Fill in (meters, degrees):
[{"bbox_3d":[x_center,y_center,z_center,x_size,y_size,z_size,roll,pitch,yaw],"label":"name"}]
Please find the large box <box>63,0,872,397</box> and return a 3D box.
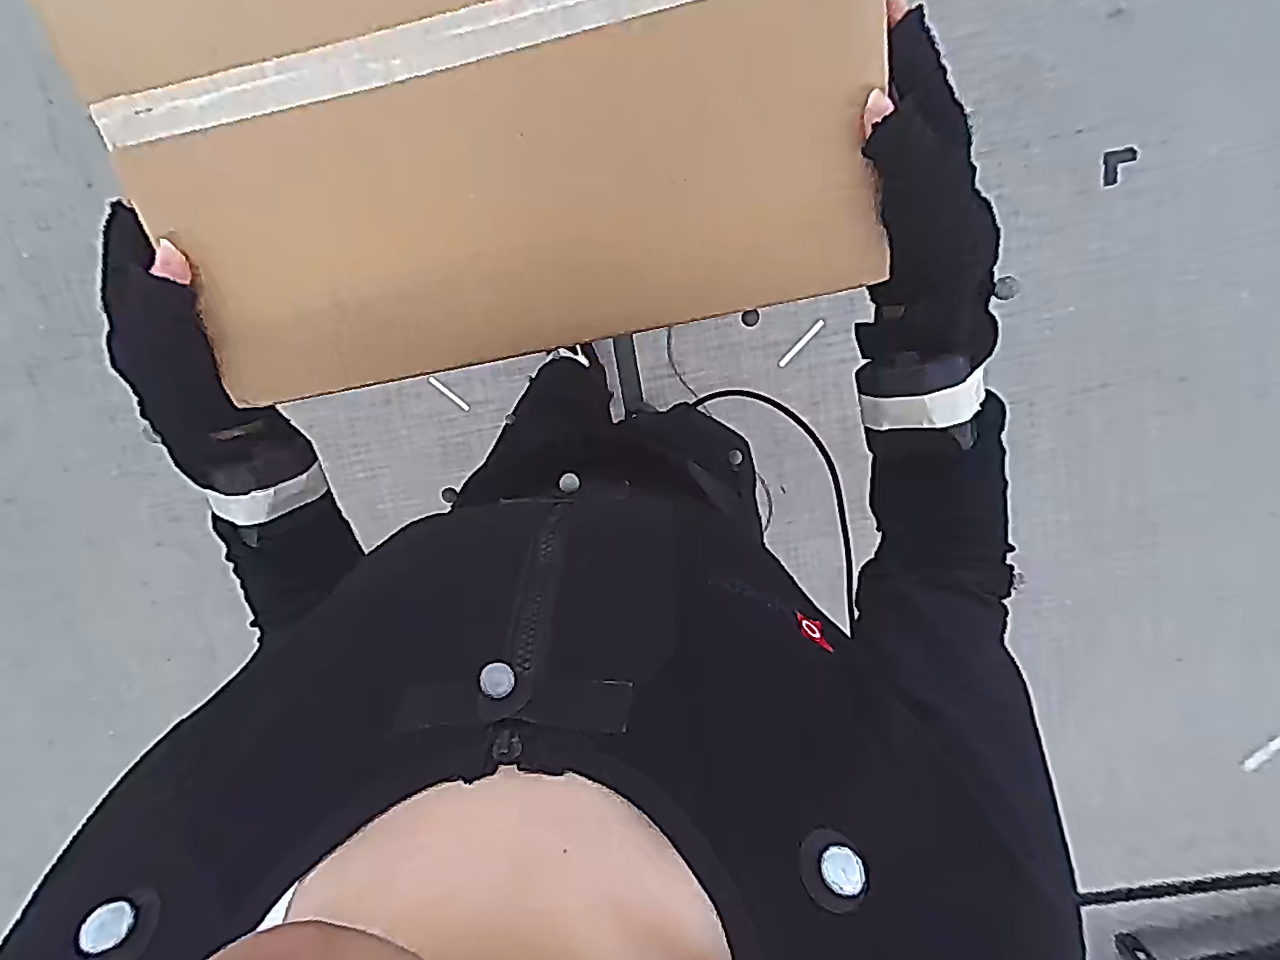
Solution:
[{"bbox_3d":[-0.084,-0.285,0.416,0.408,0.320,0.320,-10,111,5],"label":"large box"}]
